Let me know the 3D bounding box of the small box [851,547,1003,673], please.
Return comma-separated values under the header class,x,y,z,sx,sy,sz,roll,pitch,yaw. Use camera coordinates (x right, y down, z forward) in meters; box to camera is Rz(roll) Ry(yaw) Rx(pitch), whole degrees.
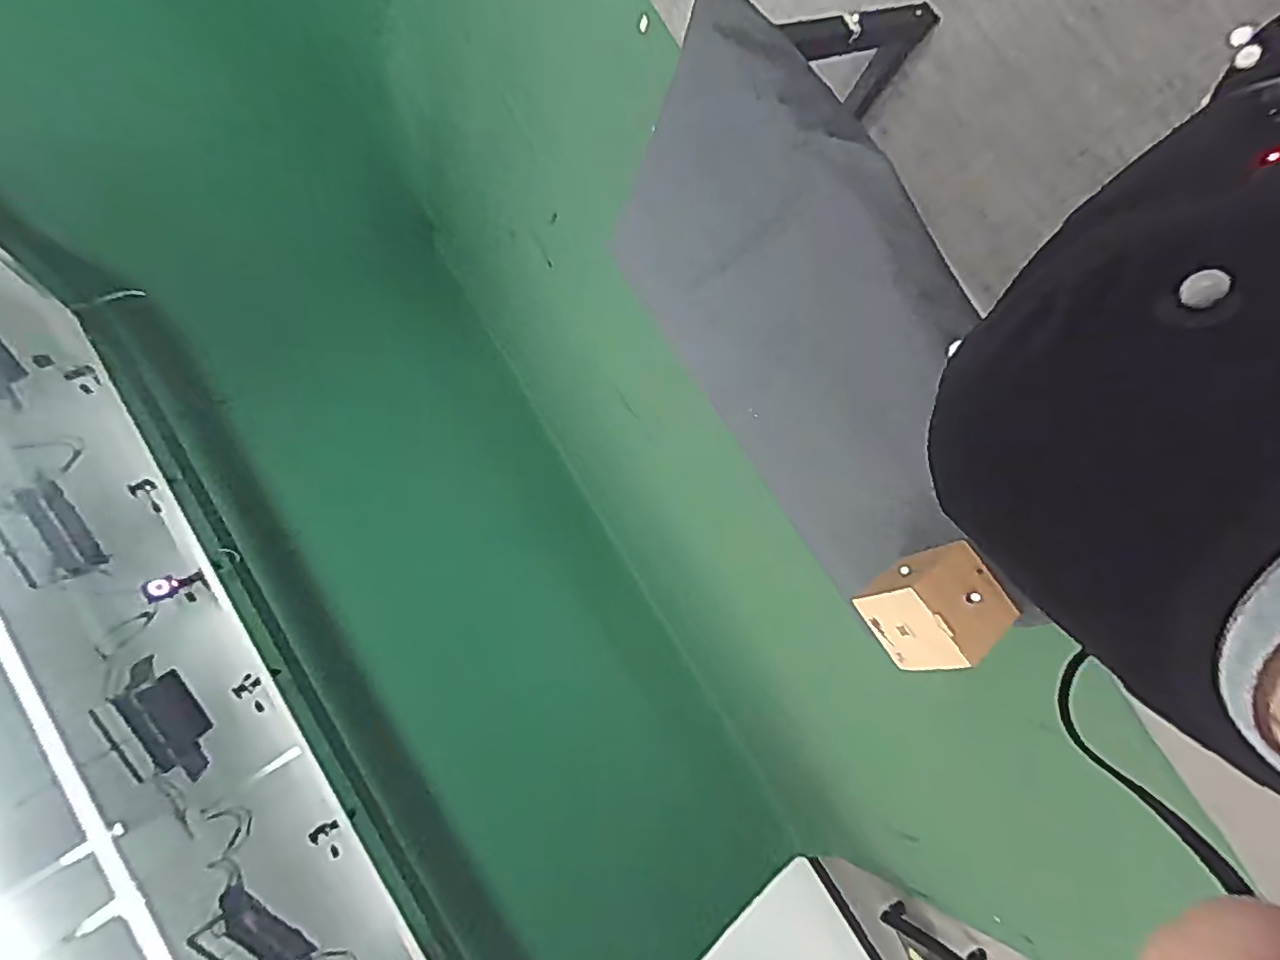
class,x,y,z,sx,sy,sz,roll,pitch,yaw
small box,0.559,0.251,1.045,0.168,0.176,0.179,56,153,8
